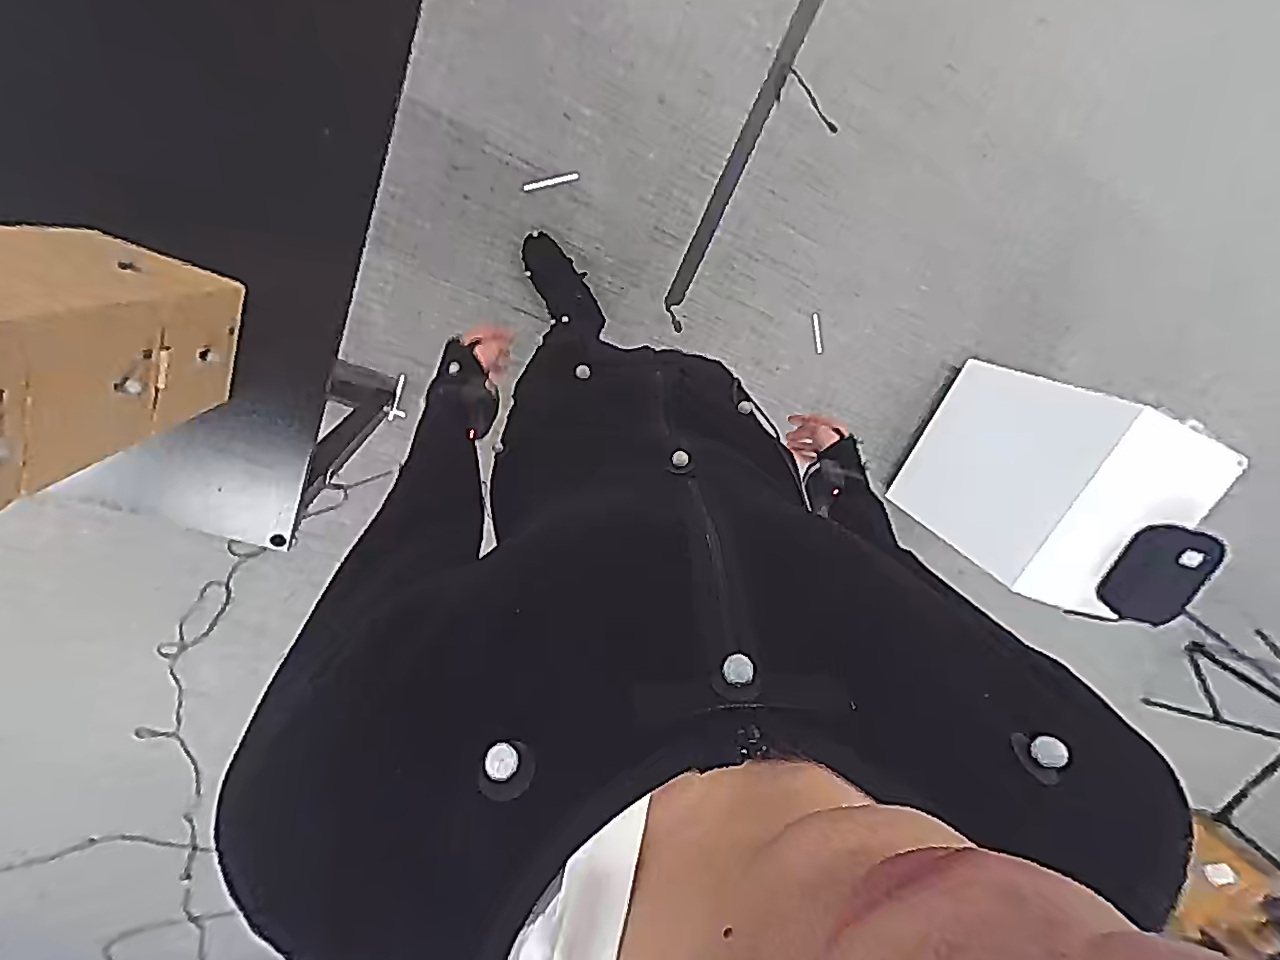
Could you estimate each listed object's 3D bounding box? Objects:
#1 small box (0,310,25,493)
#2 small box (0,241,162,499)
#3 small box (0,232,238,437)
[{"bbox_3d":[-0.551,-0.047,0.324,0.179,0.176,0.168,18,110,-17],"label":"small box"},{"bbox_3d":[-0.578,-0.110,0.472,0.179,0.176,0.168,18,109,-17],"label":"small box"},{"bbox_3d":[-0.604,-0.174,0.622,0.179,0.176,0.168,17,109,-17],"label":"small box"}]
